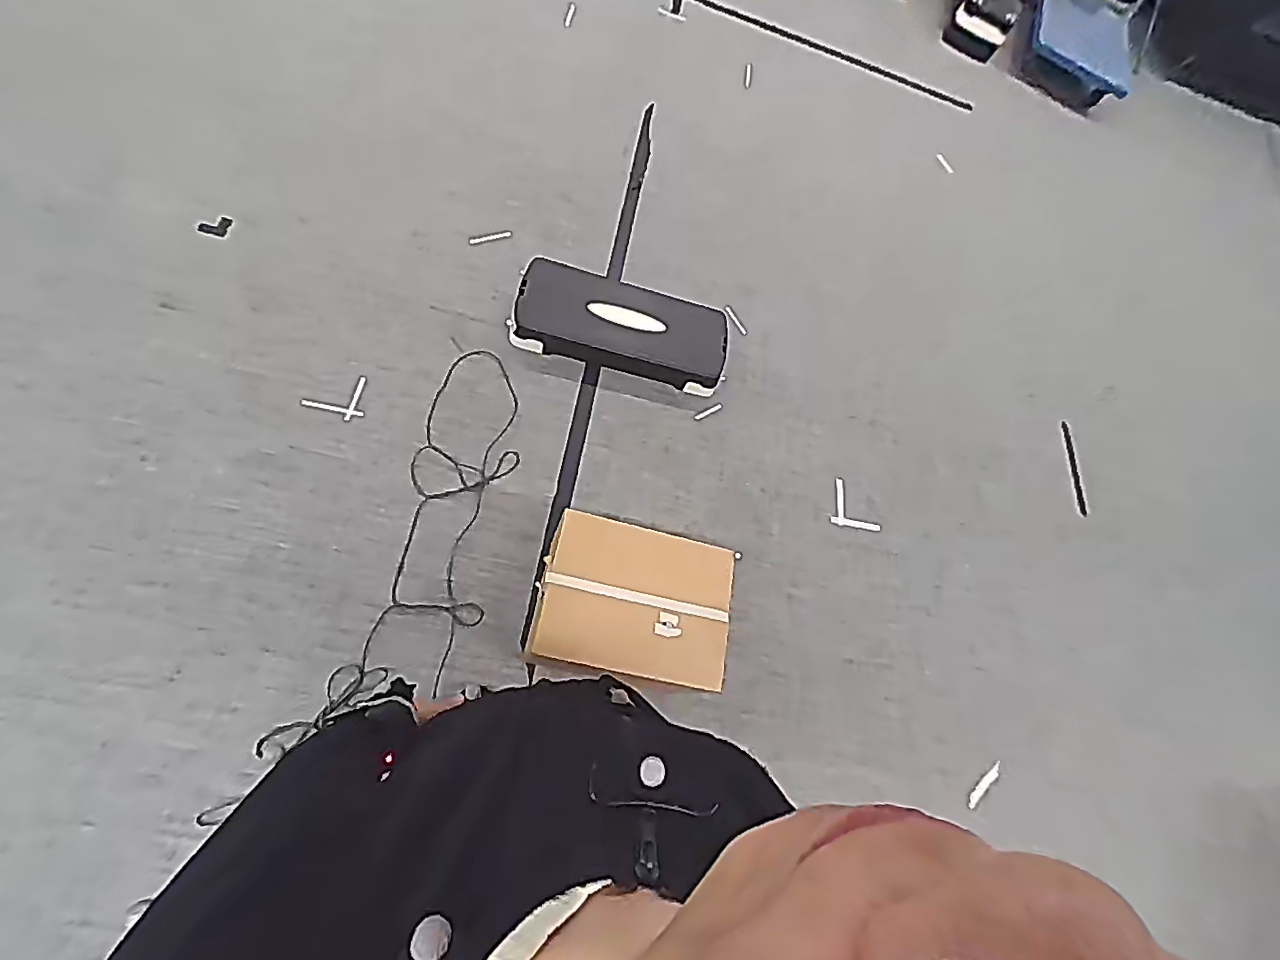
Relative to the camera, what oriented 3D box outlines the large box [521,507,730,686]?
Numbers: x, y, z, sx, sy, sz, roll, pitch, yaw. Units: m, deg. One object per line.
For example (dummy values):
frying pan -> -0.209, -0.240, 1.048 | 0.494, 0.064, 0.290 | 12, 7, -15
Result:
large box -> -0.044, 0.294, 1.280 | 0.408, 0.320, 0.320 | 15, 67, -10
